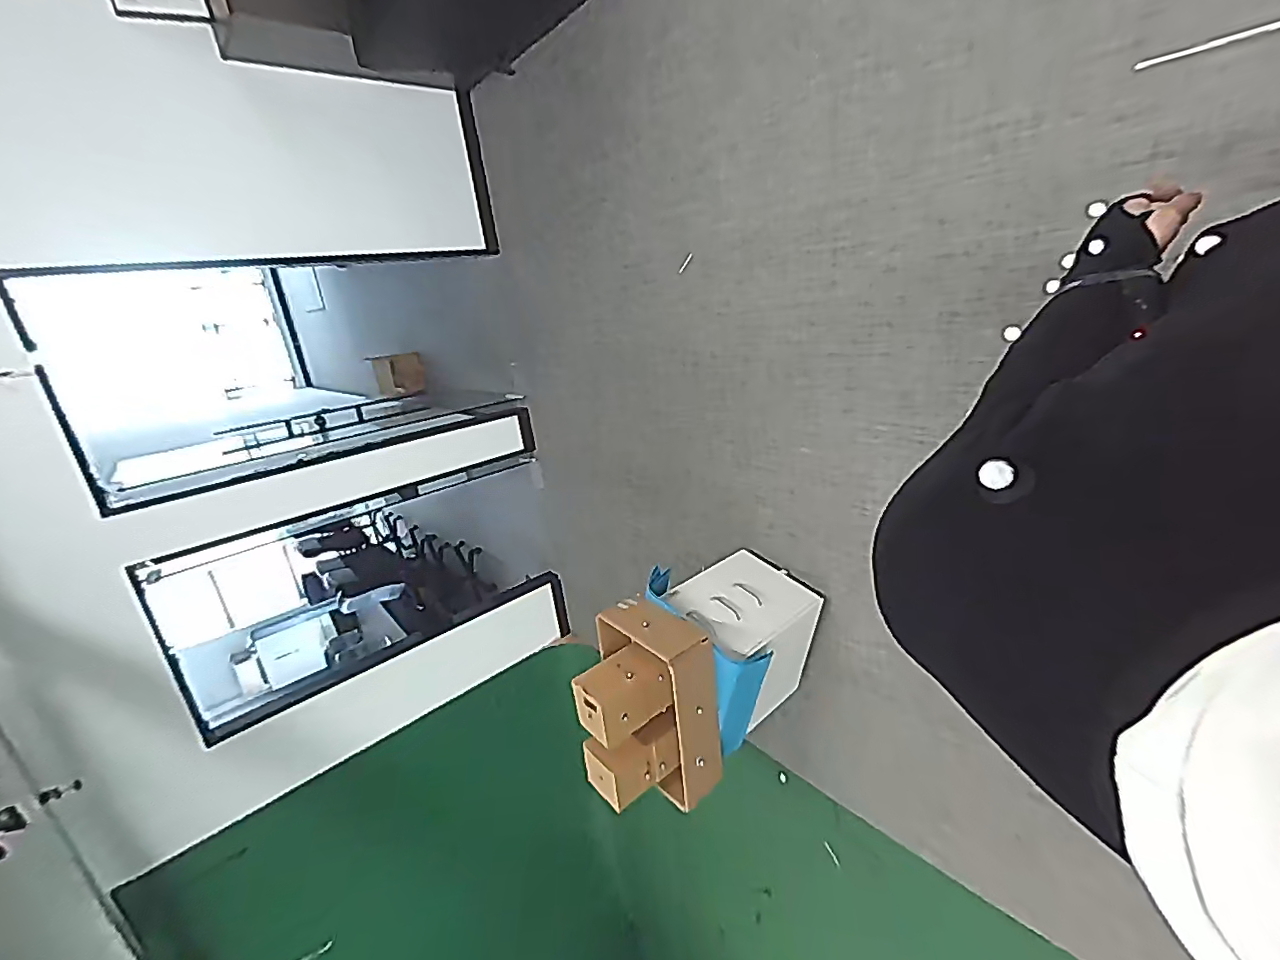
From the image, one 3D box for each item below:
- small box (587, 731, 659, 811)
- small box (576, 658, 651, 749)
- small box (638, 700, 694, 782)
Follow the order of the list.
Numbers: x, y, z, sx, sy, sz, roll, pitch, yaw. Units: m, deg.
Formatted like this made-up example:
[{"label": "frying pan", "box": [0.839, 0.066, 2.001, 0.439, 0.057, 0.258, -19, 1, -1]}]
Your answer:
[{"label": "small box", "box": [-0.057, 0.954, 1.821, 0.179, 0.176, 0.168, 16, 118, 49]}, {"label": "small box", "box": [-0.082, 0.705, 1.731, 0.168, 0.176, 0.179, 17, 120, 50]}, {"label": "small box", "box": [0.072, 0.910, 1.910, 0.179, 0.176, 0.168, 17, 119, 50]}]
